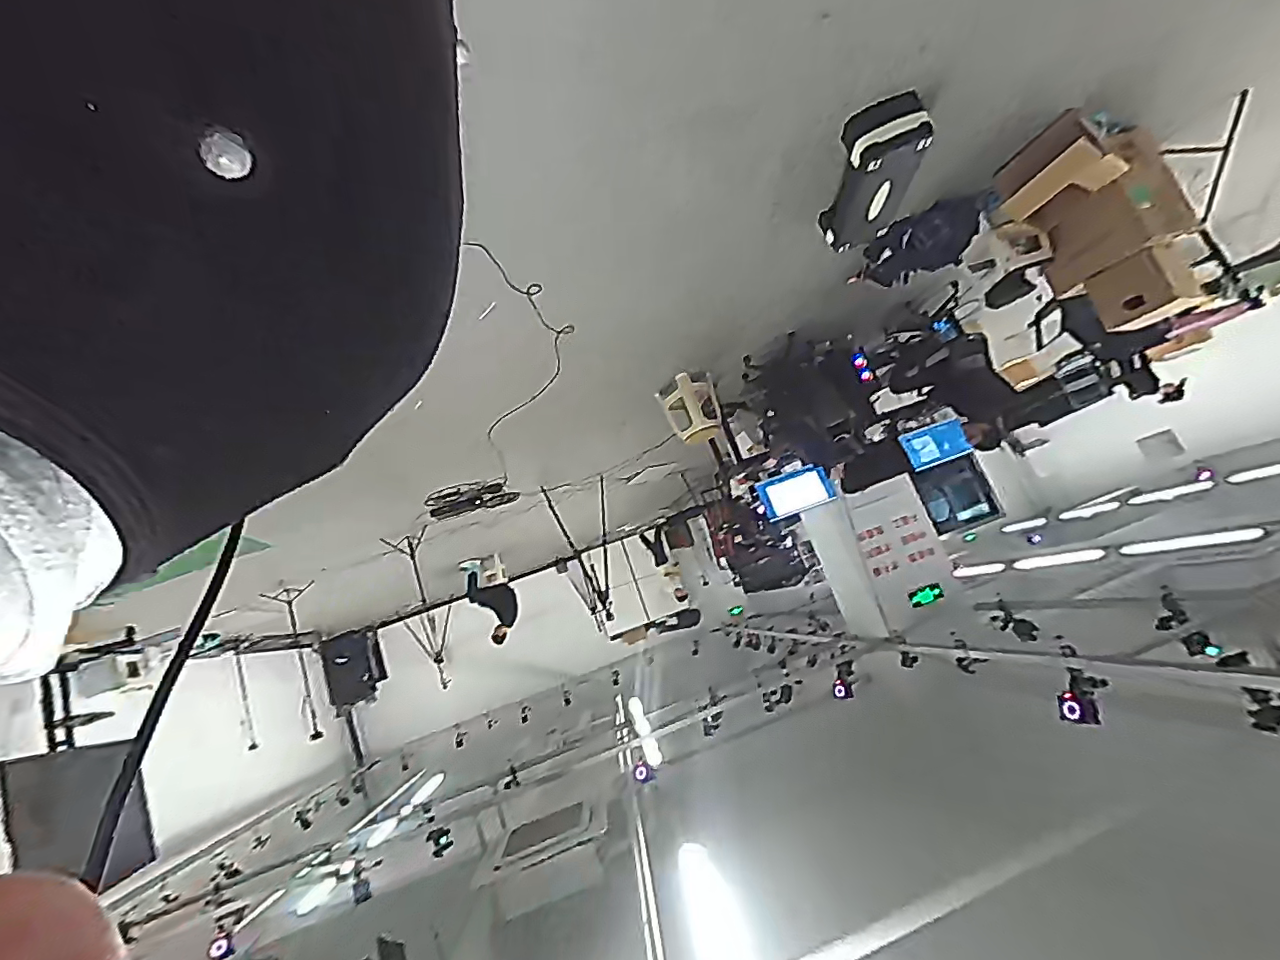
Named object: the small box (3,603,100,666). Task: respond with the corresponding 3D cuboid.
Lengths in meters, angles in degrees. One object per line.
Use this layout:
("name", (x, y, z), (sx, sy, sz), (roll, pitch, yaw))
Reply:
("small box", (-2.119, 0.550, 1.945), (0.179, 0.176, 0.168), (-20, 166, -7))
